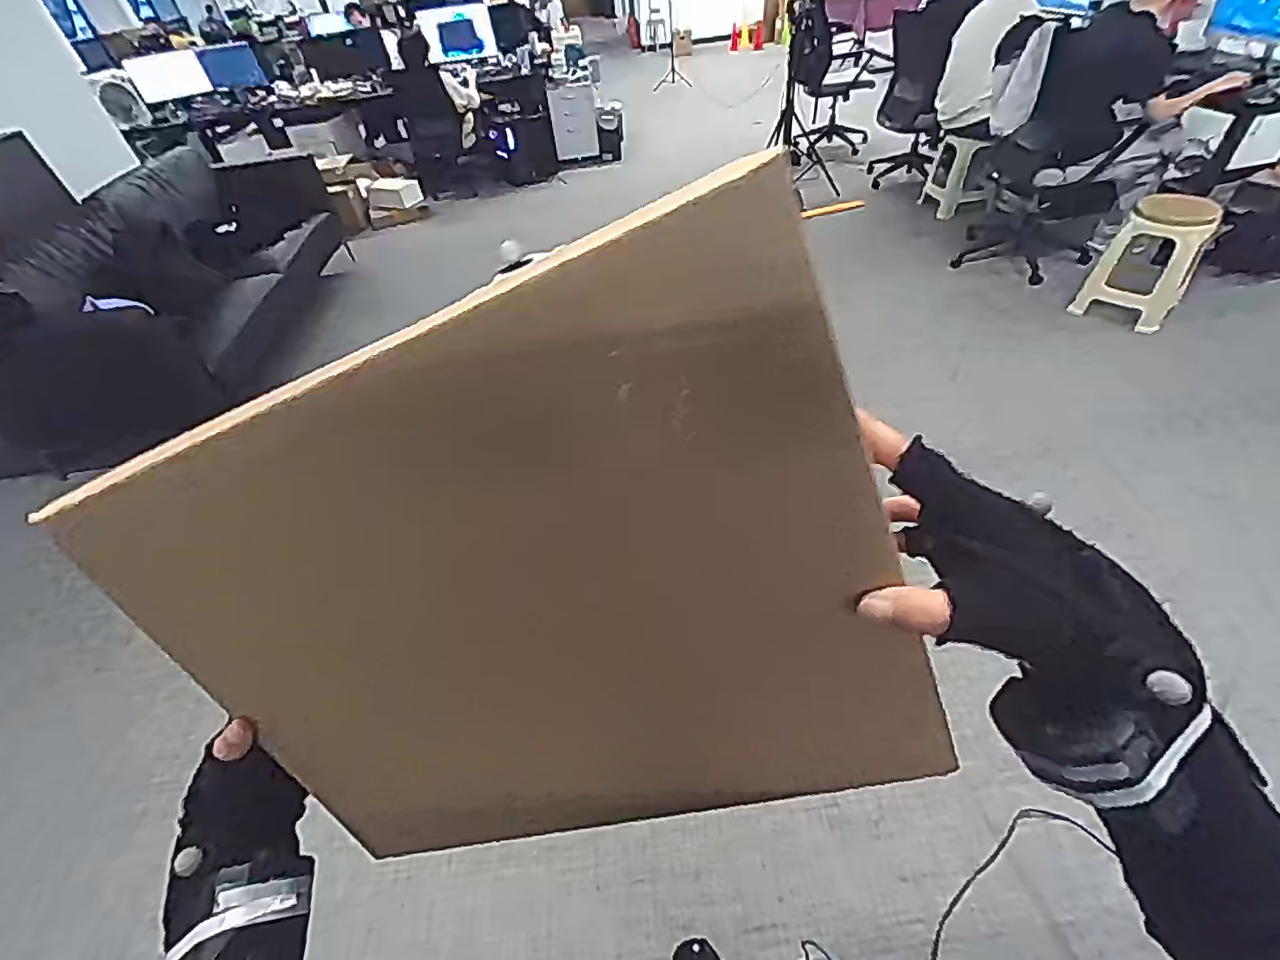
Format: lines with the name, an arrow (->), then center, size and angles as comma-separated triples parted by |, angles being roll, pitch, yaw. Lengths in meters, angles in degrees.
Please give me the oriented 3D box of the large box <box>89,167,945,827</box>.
large box -> -0.047, 0.011, 0.430 | 0.408, 0.320, 0.320 | -18, 24, 15
